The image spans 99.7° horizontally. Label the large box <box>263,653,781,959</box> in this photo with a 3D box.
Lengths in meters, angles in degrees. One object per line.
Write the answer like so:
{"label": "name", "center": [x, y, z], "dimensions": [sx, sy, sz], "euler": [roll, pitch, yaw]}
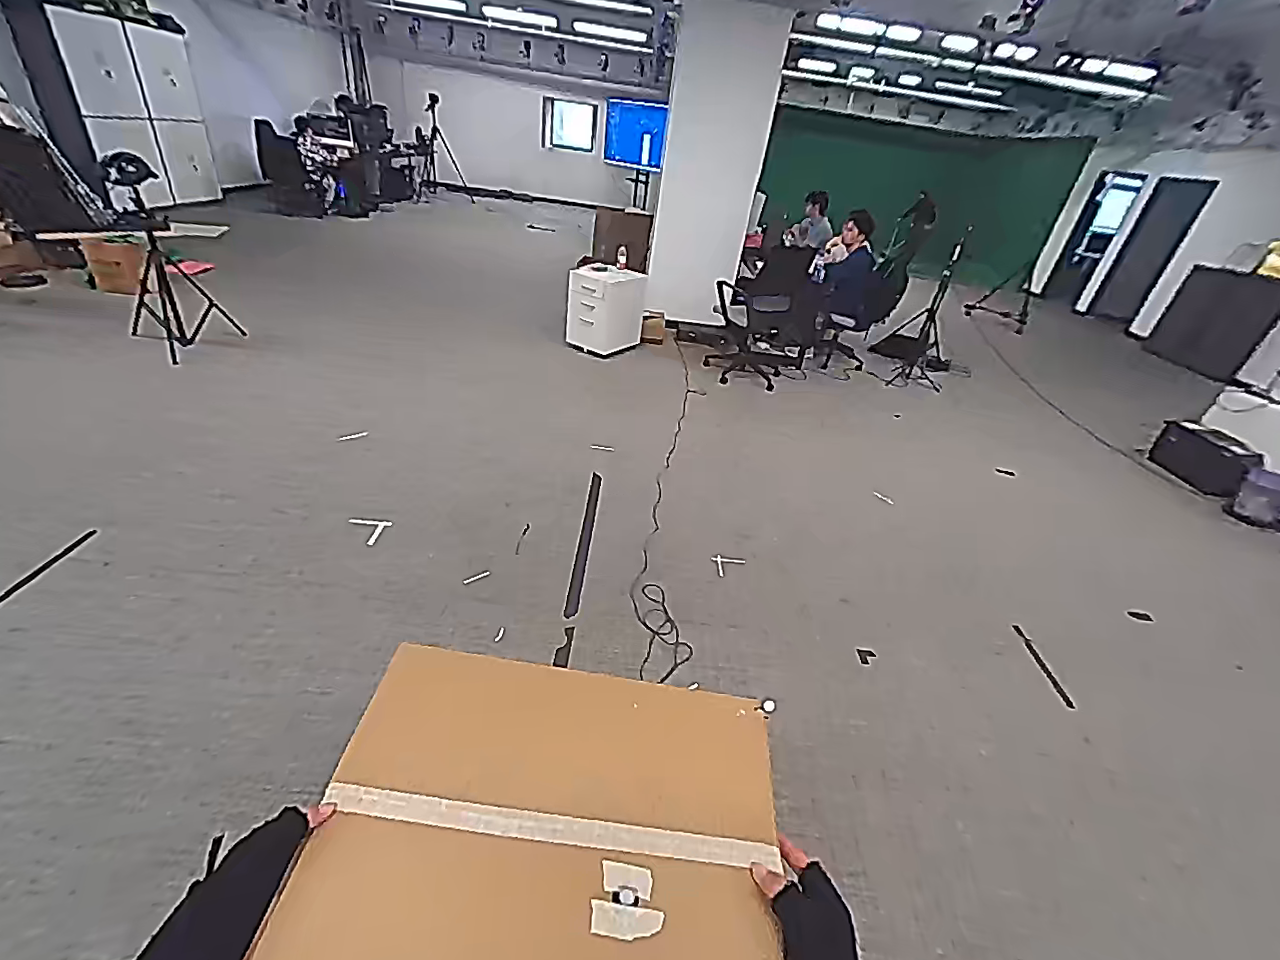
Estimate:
{"label": "large box", "center": [-0.100, 0.431, 0.581], "dimensions": [0.408, 0.320, 0.320], "euler": [10, 39, -2]}
